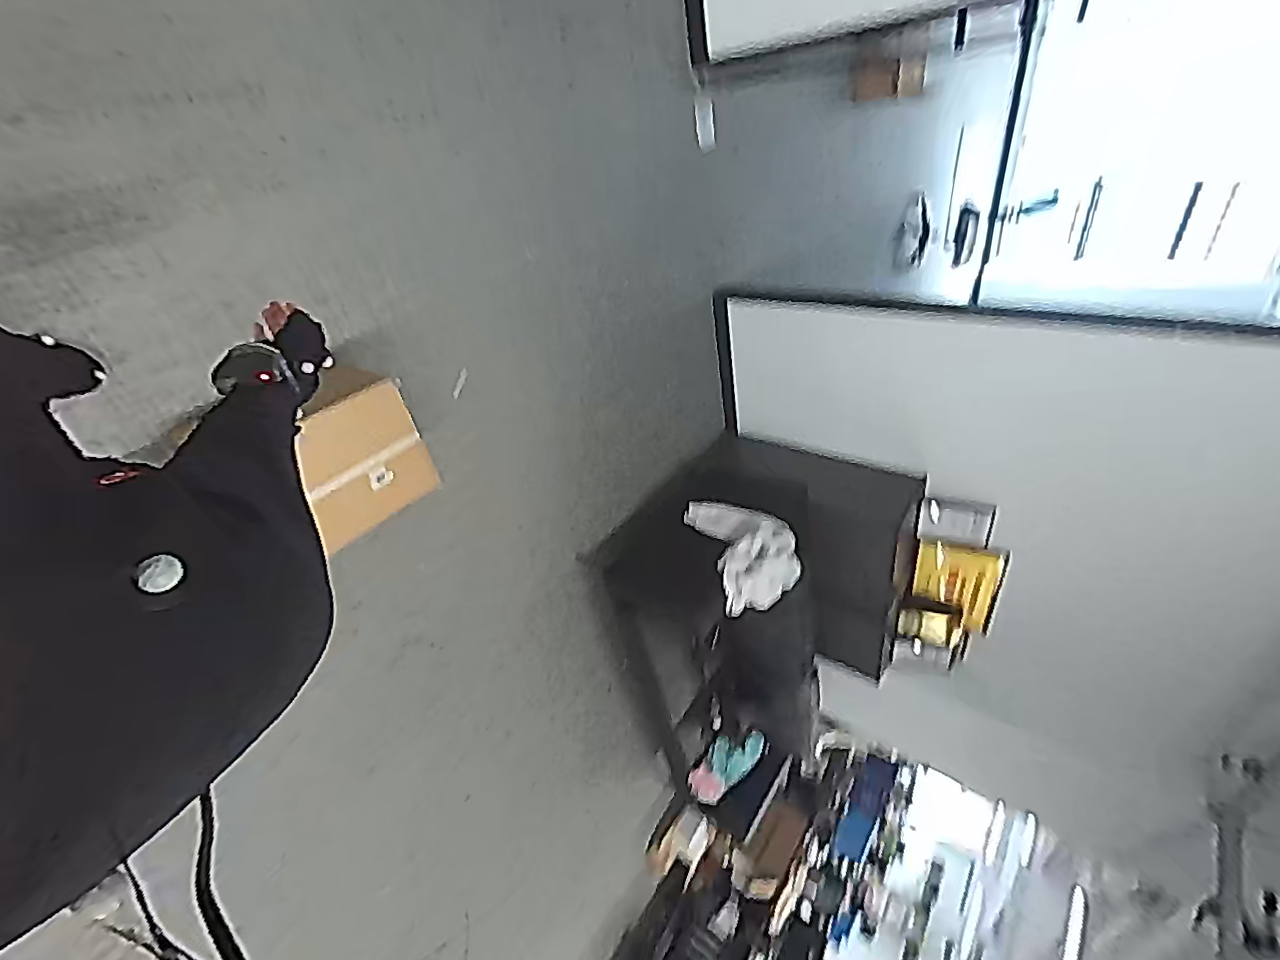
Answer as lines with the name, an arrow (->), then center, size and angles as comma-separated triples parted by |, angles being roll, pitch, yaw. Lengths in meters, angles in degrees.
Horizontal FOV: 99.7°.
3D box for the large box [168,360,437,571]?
large box -> -0.795, -0.058, 1.314 | 0.408, 0.320, 0.320 | -42, 136, -36
